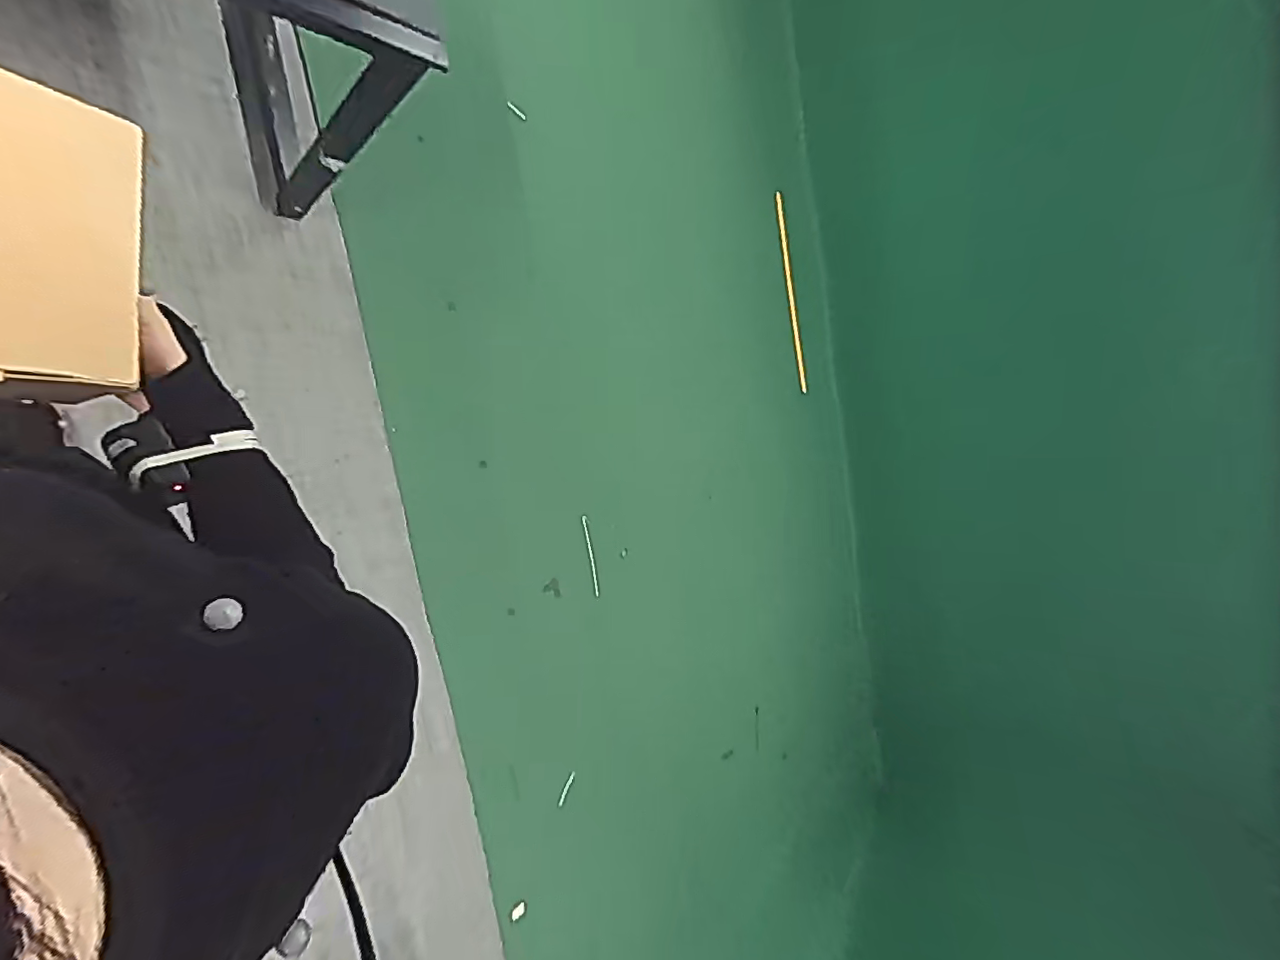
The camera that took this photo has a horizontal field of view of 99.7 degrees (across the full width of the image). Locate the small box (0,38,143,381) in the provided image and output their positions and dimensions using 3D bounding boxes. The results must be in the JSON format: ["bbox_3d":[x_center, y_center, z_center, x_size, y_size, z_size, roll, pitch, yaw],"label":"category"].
[{"bbox_3d":[-0.436,-0.162,0.325,0.168,0.176,0.179,0,93,-57],"label":"small box"}]
